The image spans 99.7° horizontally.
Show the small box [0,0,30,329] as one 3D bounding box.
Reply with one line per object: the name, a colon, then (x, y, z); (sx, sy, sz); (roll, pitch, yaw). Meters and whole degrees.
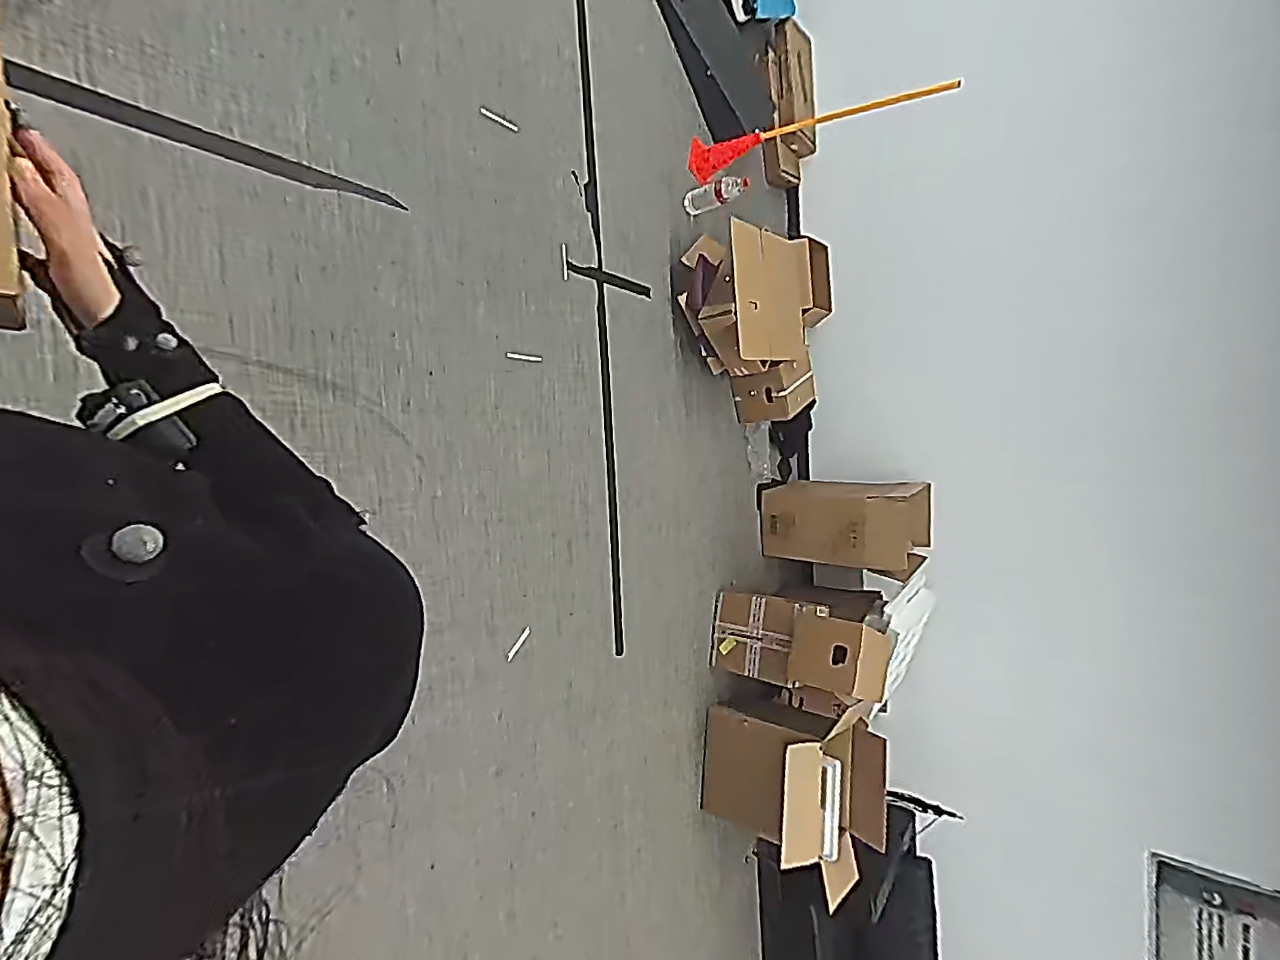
small box: (-0.471, -0.193, 0.301); (0.168, 0.176, 0.179); (-6, 98, -48)
